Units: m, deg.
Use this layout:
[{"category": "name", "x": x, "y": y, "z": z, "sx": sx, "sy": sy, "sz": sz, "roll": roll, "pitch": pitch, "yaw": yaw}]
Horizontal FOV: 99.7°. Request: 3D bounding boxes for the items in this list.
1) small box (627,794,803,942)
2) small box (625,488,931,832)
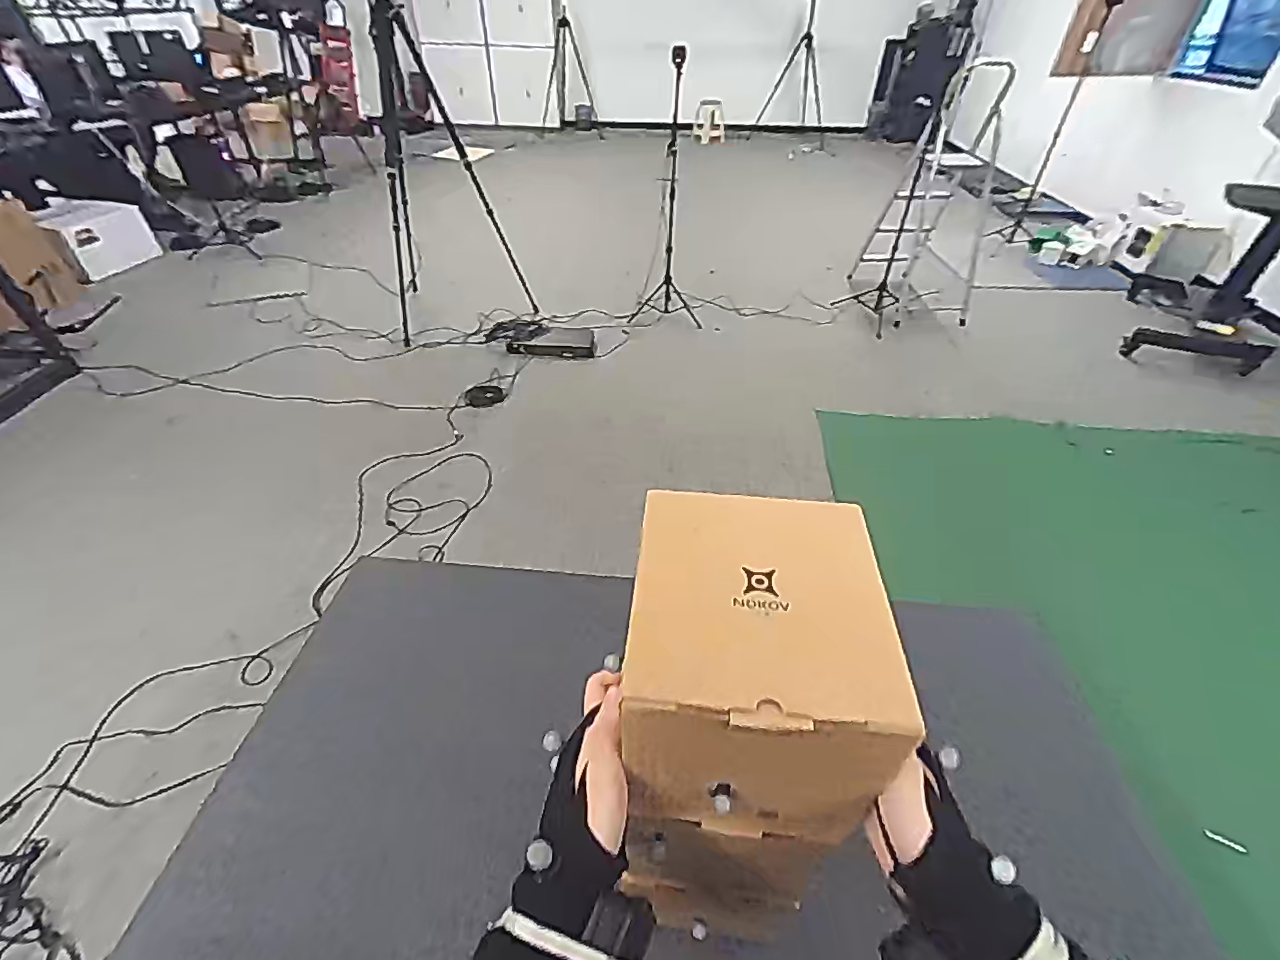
[{"category": "small box", "x": 0.077, "y": 0.383, "z": 0.610, "sx": 0.168, "sy": 0.176, "sz": 0.179, "roll": 5, "pitch": 41, "yaw": 5}, {"category": "small box", "x": 0.079, "y": 0.130, "z": 0.404, "sx": 0.168, "sy": 0.176, "sz": 0.179, "roll": 4, "pitch": 41, "yaw": 3}]
